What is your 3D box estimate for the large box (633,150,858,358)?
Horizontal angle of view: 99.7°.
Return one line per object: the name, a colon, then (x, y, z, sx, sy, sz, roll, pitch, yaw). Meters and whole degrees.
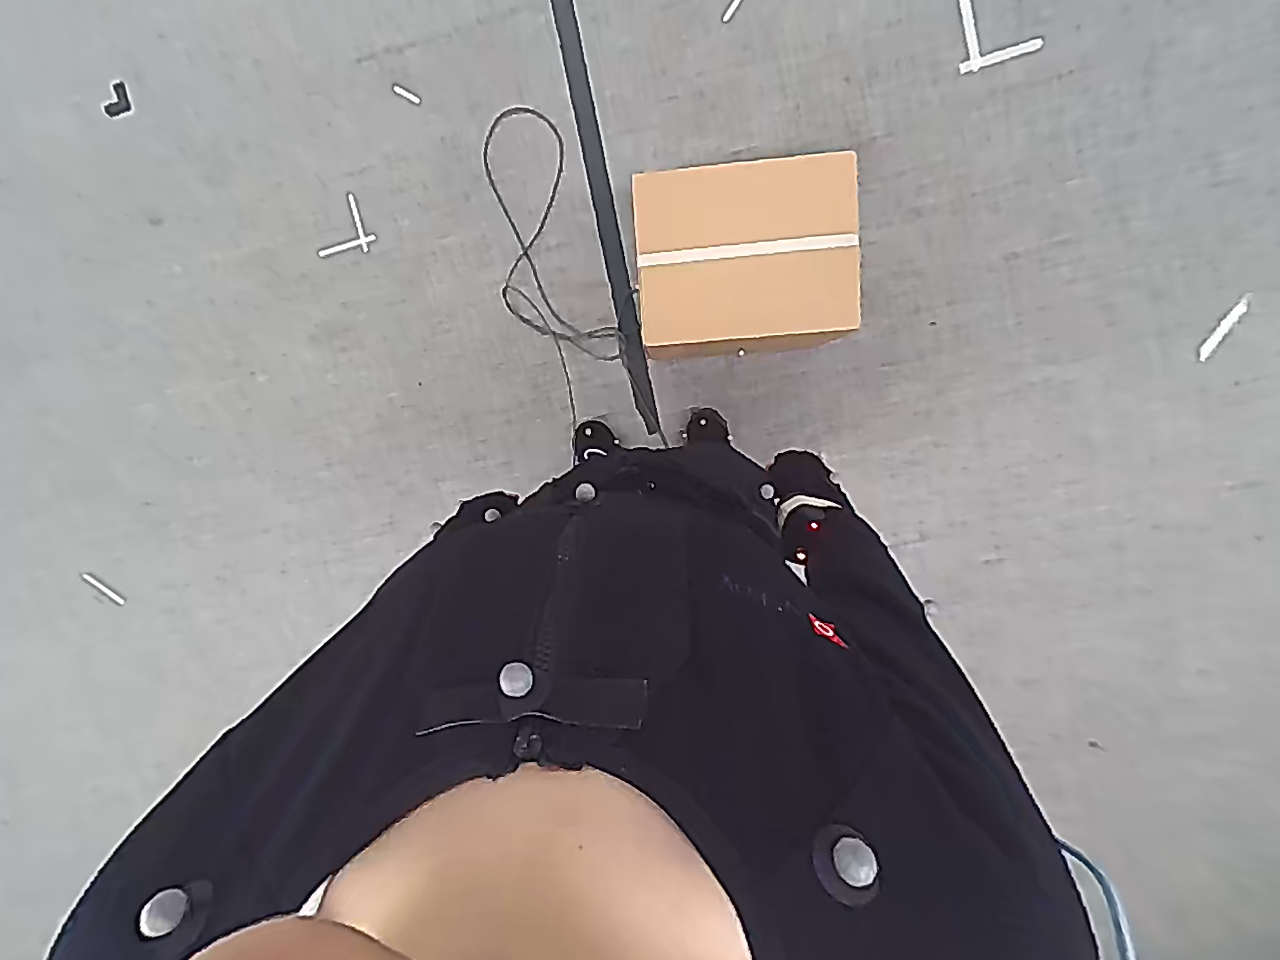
large box: (0.204, -0.446, 1.150, 0.408, 0.320, 0.320, -4, 98, 4)
